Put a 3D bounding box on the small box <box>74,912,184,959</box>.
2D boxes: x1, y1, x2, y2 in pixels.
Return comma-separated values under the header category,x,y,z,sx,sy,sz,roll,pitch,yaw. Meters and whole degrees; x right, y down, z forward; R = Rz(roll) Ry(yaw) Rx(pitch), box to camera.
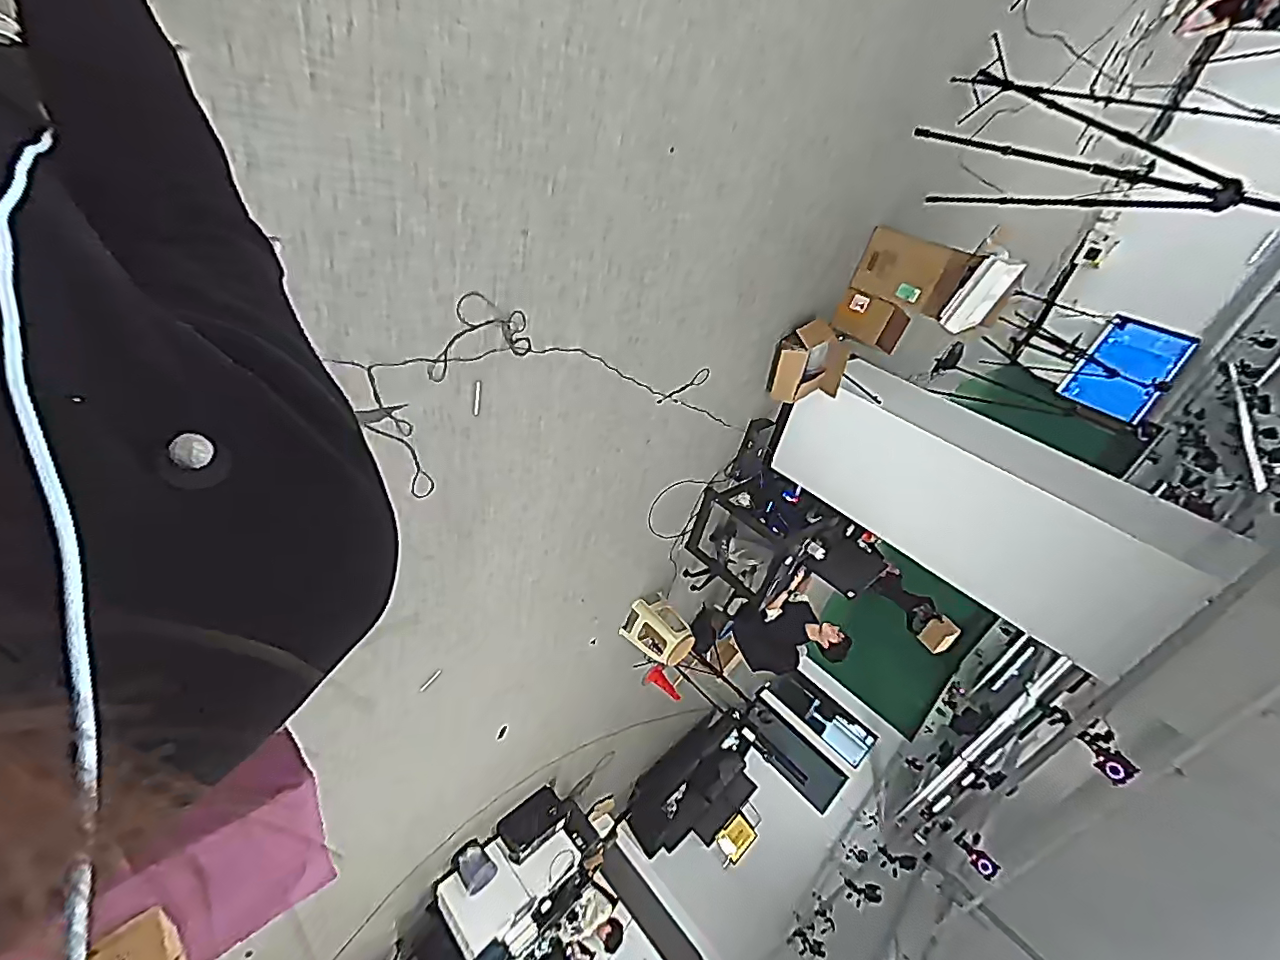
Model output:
category,x,y,z,sx,sy,sz,roll,pitch,yaw
small box,-1.132,1.115,1.198,0.168,0.176,0.179,-21,138,-41
